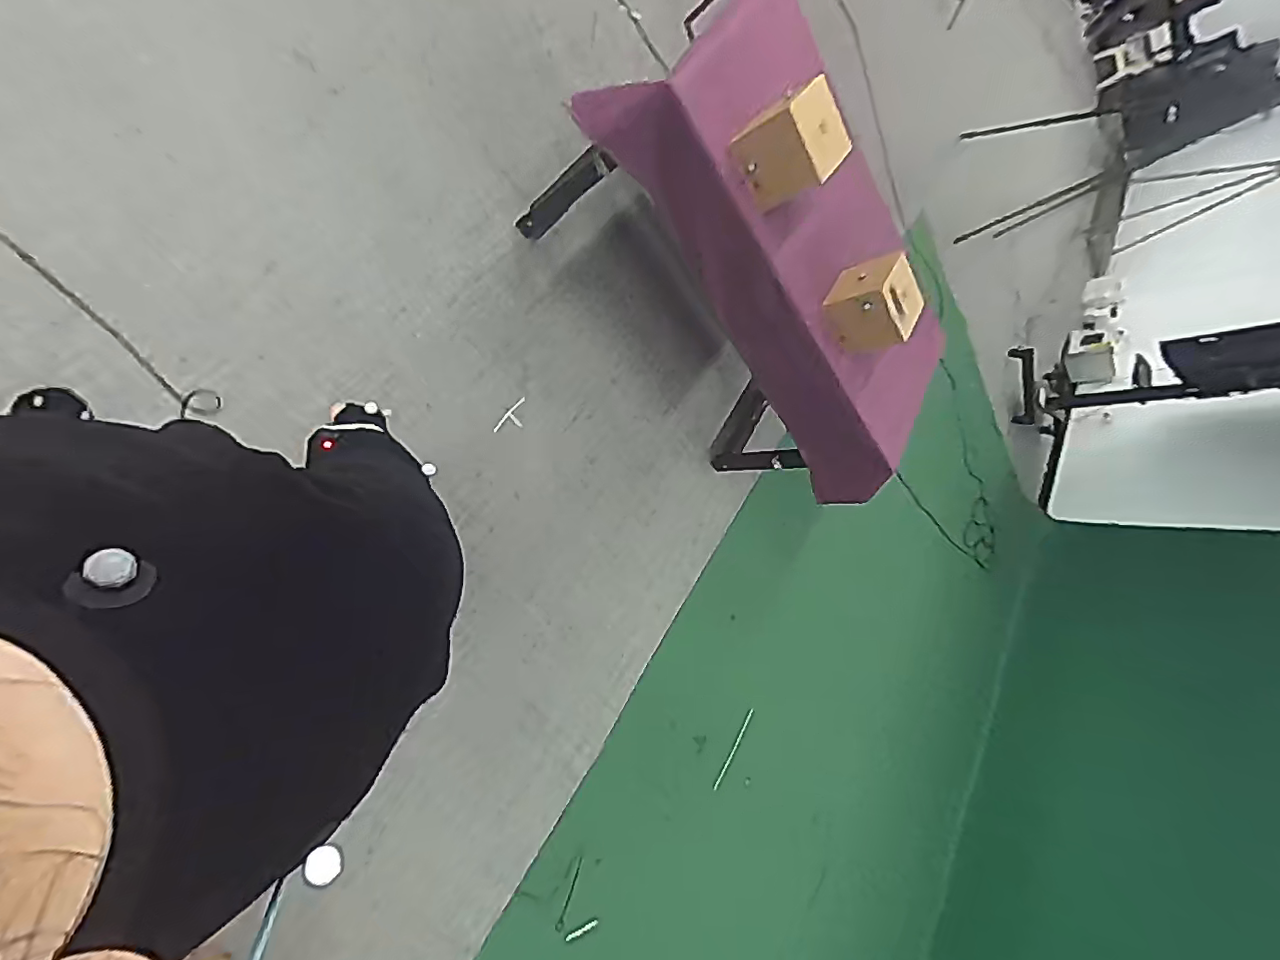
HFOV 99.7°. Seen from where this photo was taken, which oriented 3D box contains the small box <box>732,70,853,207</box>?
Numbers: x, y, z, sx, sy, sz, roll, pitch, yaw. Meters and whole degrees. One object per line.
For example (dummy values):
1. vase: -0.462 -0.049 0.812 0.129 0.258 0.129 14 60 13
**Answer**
1. small box: 0.333 -0.743 1.190 0.168 0.176 0.179 51 61 -25
